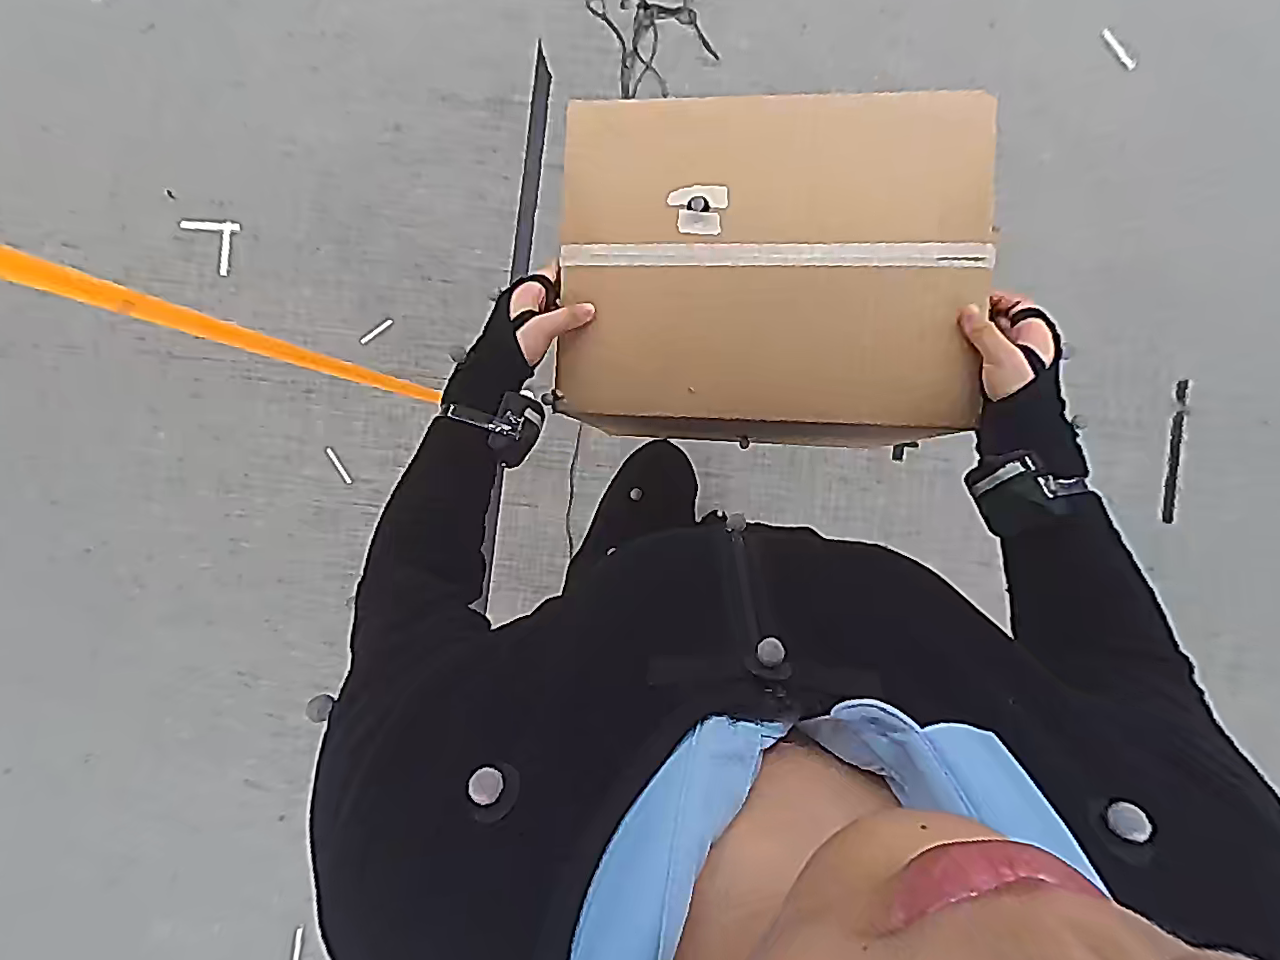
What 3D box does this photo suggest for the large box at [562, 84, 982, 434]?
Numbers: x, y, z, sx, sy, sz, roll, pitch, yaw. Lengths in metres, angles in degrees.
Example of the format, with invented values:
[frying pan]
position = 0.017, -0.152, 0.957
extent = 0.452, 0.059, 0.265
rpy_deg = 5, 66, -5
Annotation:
[large box]
position = 0.142, -0.222, 0.678
extent = 0.408, 0.320, 0.320
rpy_deg = 2, 89, 8
